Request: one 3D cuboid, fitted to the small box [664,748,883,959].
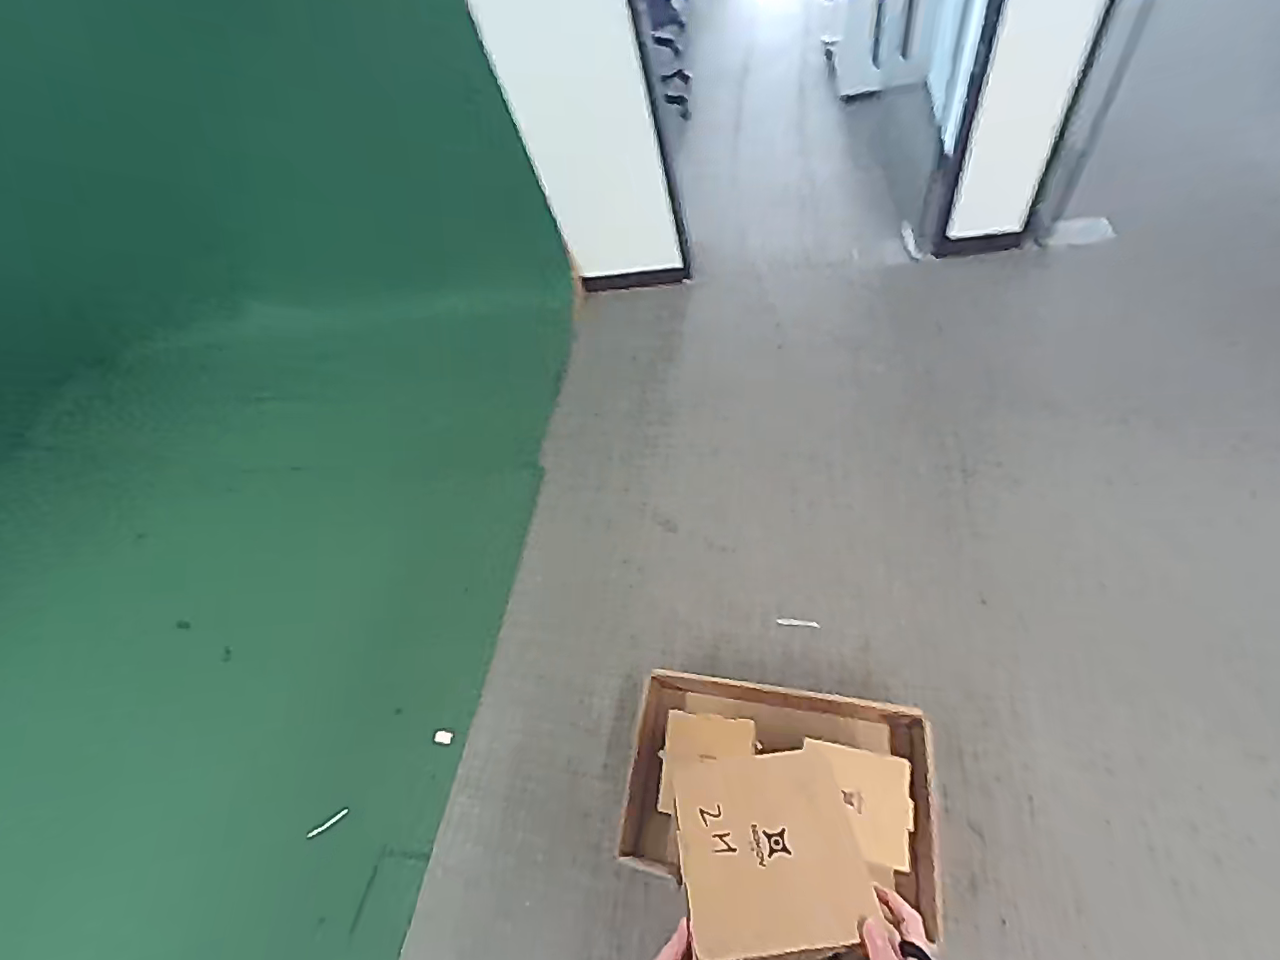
[{"bbox_3d":[0.123,0.410,0.573,0.179,0.176,0.168,-7,40,-1],"label":"small box"}]

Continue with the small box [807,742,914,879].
[{"bbox_3d":[0.384,0.589,0.977,0.179,0.176,0.168,5,61,20],"label":"small box"}]

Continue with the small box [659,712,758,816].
[{"bbox_3d":[0.143,0.573,1.064,0.168,0.176,0.179,1,59,15],"label":"small box"}]
